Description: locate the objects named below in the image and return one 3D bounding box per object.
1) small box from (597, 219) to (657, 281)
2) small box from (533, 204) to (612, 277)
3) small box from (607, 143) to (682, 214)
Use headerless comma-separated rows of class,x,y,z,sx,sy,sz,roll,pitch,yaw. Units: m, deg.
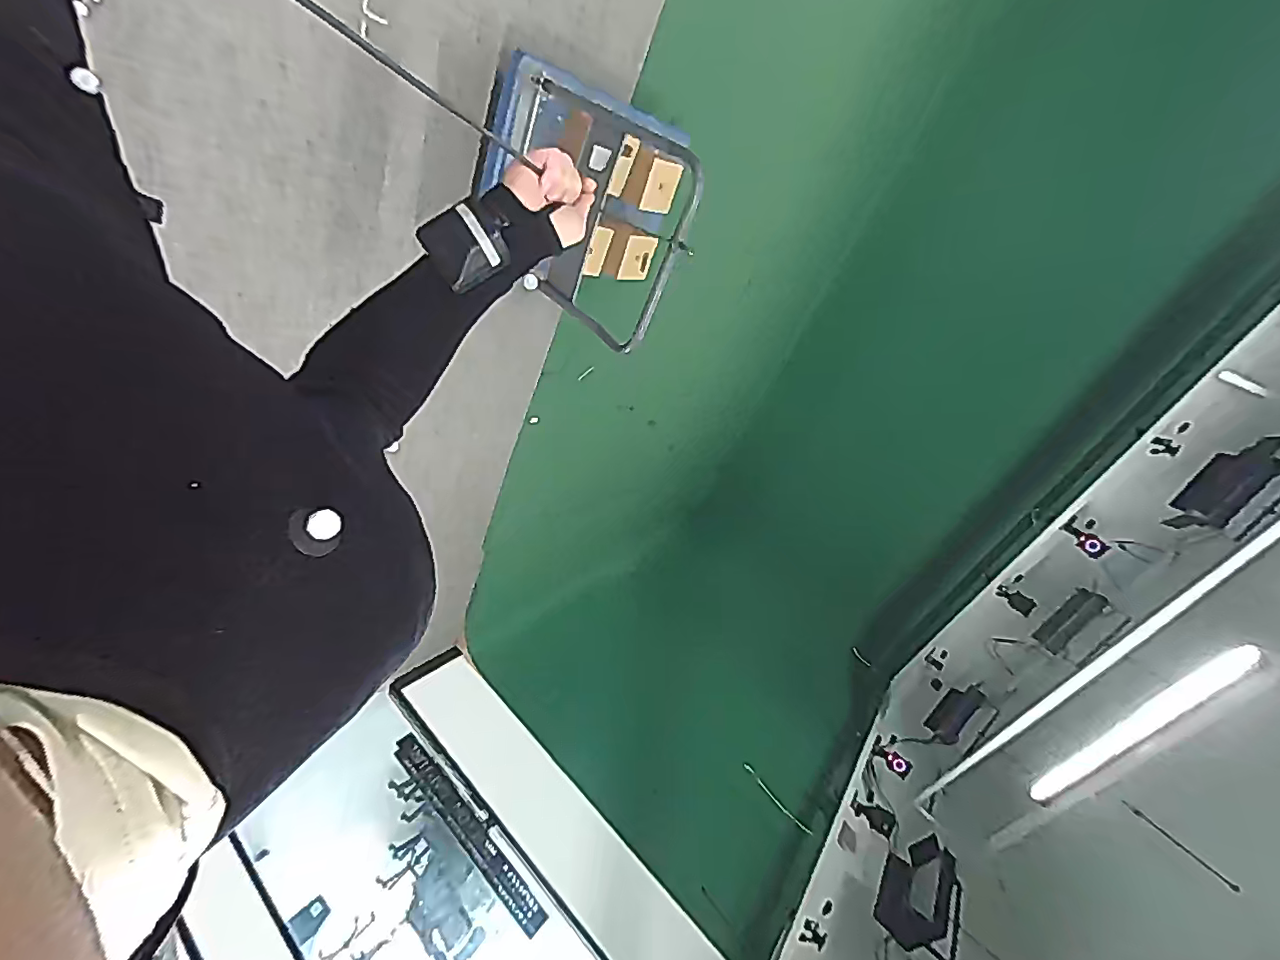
small box,-0.072,-0.875,2.056,0.179,0.176,0.168,-22,144,-47
small box,-0.232,-0.817,1.846,0.179,0.176,0.168,-18,142,-51
small box,0.010,-1.067,1.916,0.179,0.176,0.168,-24,146,-48
